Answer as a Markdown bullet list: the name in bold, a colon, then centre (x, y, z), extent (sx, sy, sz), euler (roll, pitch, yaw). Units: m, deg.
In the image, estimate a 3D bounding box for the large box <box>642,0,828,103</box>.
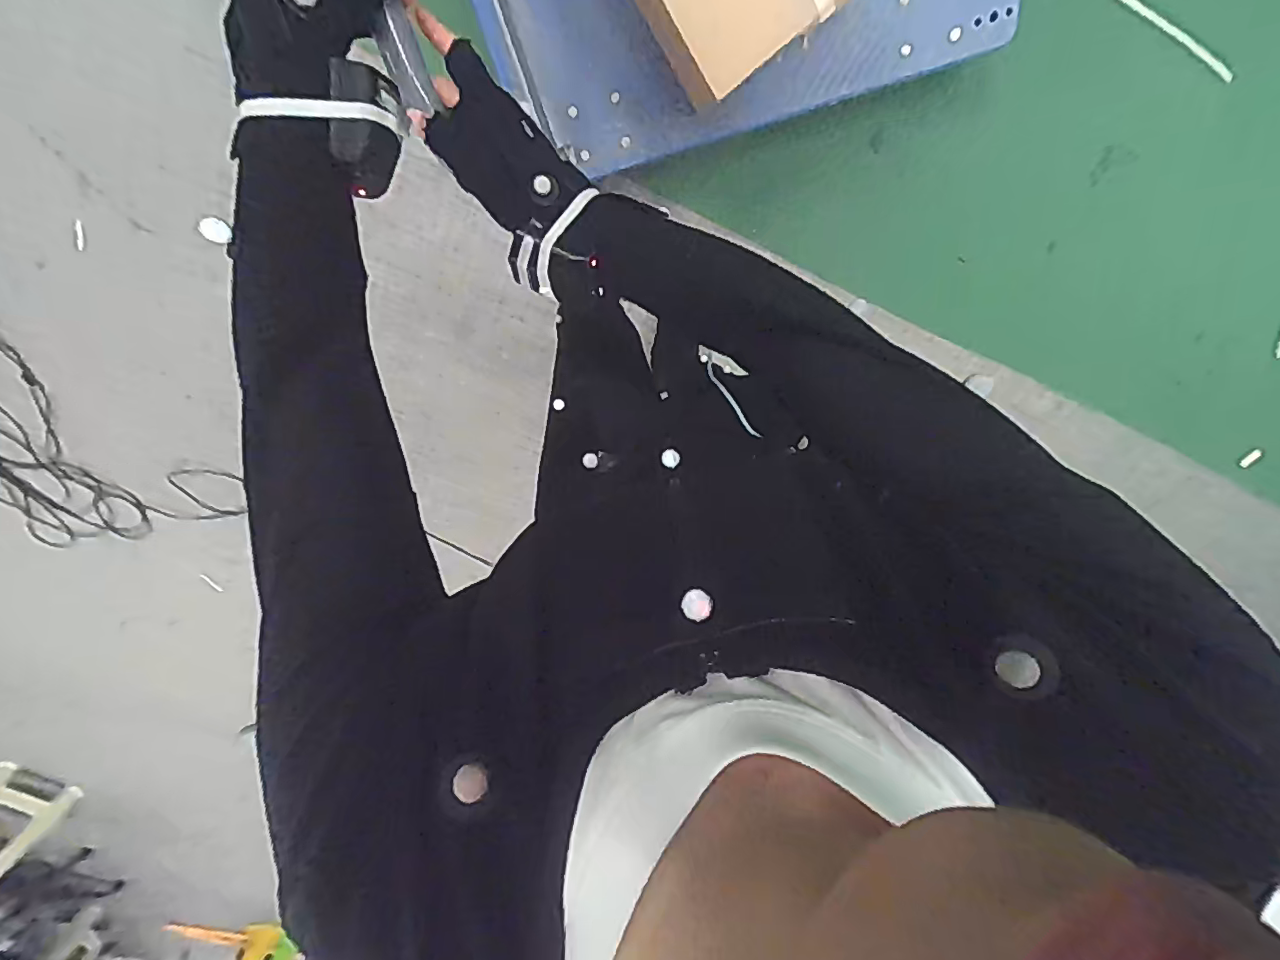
- **large box**: centre (0.109, -0.801, 0.711), extent (0.320, 0.320, 0.408), euler (-31, 116, 19)
